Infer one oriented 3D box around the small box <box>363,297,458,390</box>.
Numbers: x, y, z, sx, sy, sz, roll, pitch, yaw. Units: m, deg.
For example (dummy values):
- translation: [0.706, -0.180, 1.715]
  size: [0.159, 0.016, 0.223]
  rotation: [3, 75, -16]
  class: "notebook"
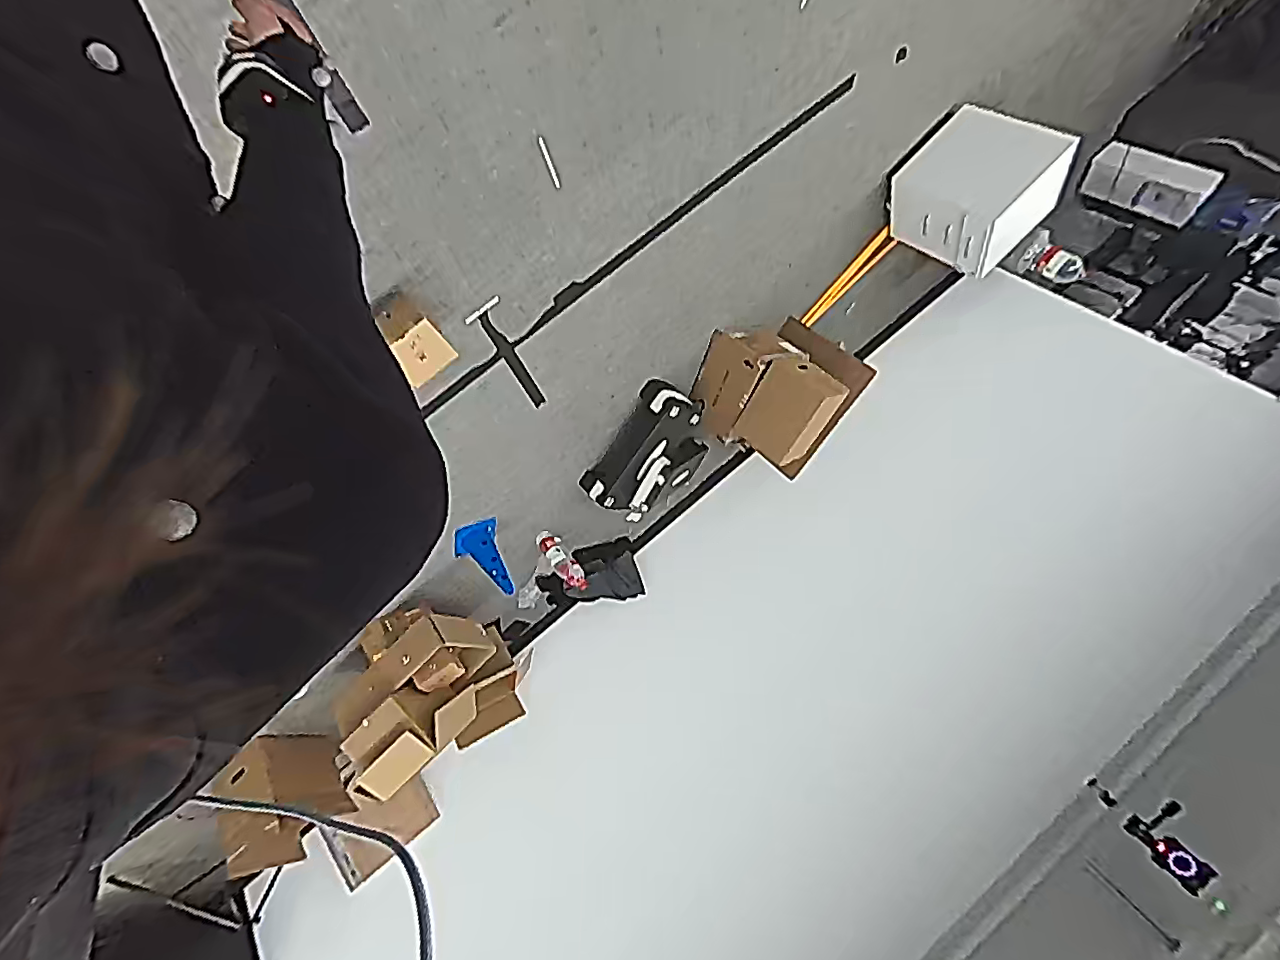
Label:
- translation: [-0.688, -0.411, 1.622]
  size: [0.168, 0.176, 0.179]
  rotation: [-41, 149, -4]
  class: "small box"
